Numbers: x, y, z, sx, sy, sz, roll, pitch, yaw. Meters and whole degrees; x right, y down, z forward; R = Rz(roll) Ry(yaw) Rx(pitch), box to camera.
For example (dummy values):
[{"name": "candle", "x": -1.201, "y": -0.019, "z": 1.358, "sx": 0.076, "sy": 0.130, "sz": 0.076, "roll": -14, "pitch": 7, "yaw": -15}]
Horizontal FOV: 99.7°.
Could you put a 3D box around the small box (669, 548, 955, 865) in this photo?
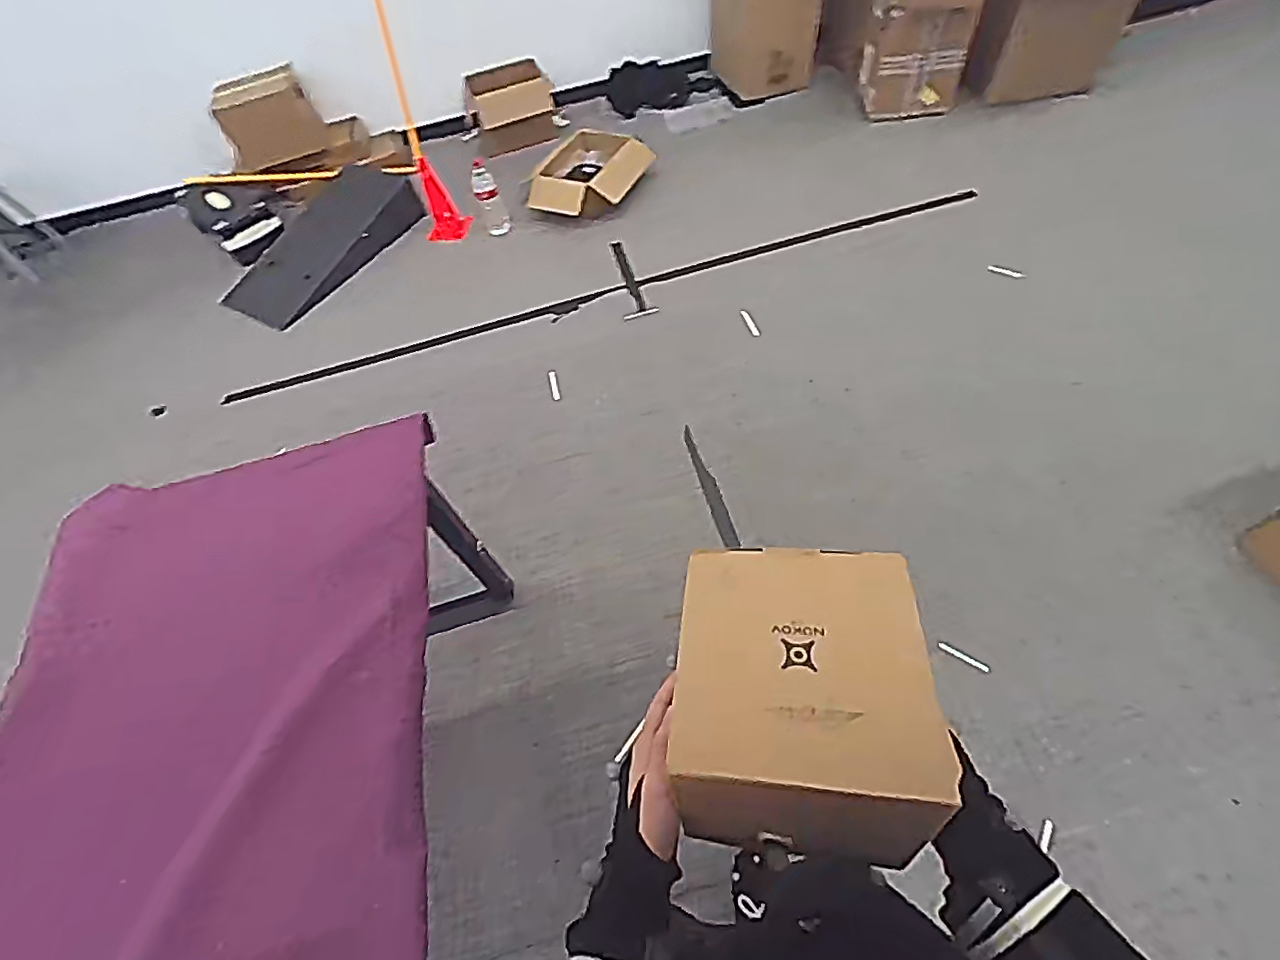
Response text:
[{"name": "small box", "x": 0.121, "y": 0.175, "z": 0.431, "sx": 0.168, "sy": 0.176, "sz": 0.179, "roll": 0, "pitch": 45, "yaw": 13}]
